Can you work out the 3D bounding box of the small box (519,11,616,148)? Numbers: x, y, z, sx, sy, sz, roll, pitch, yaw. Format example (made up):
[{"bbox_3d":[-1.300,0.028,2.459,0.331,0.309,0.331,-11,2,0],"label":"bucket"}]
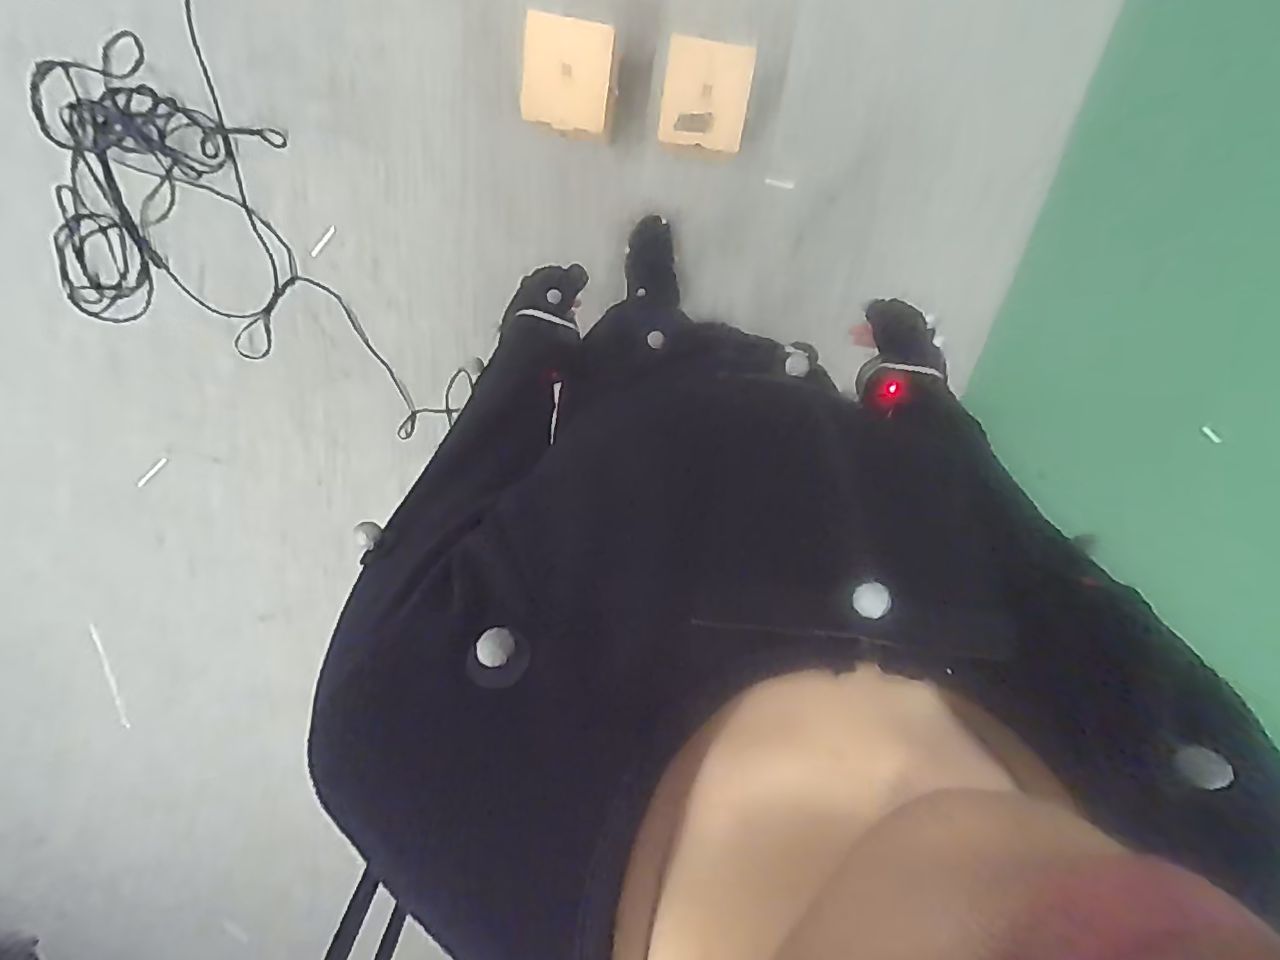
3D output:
[{"bbox_3d":[-0.143,-0.808,1.108,0.168,0.176,0.179,9,113,-2],"label":"small box"}]

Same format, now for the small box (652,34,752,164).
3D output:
[{"bbox_3d":[0.121,-0.770,1.115,0.168,0.176,0.179,8,112,-2],"label":"small box"}]
